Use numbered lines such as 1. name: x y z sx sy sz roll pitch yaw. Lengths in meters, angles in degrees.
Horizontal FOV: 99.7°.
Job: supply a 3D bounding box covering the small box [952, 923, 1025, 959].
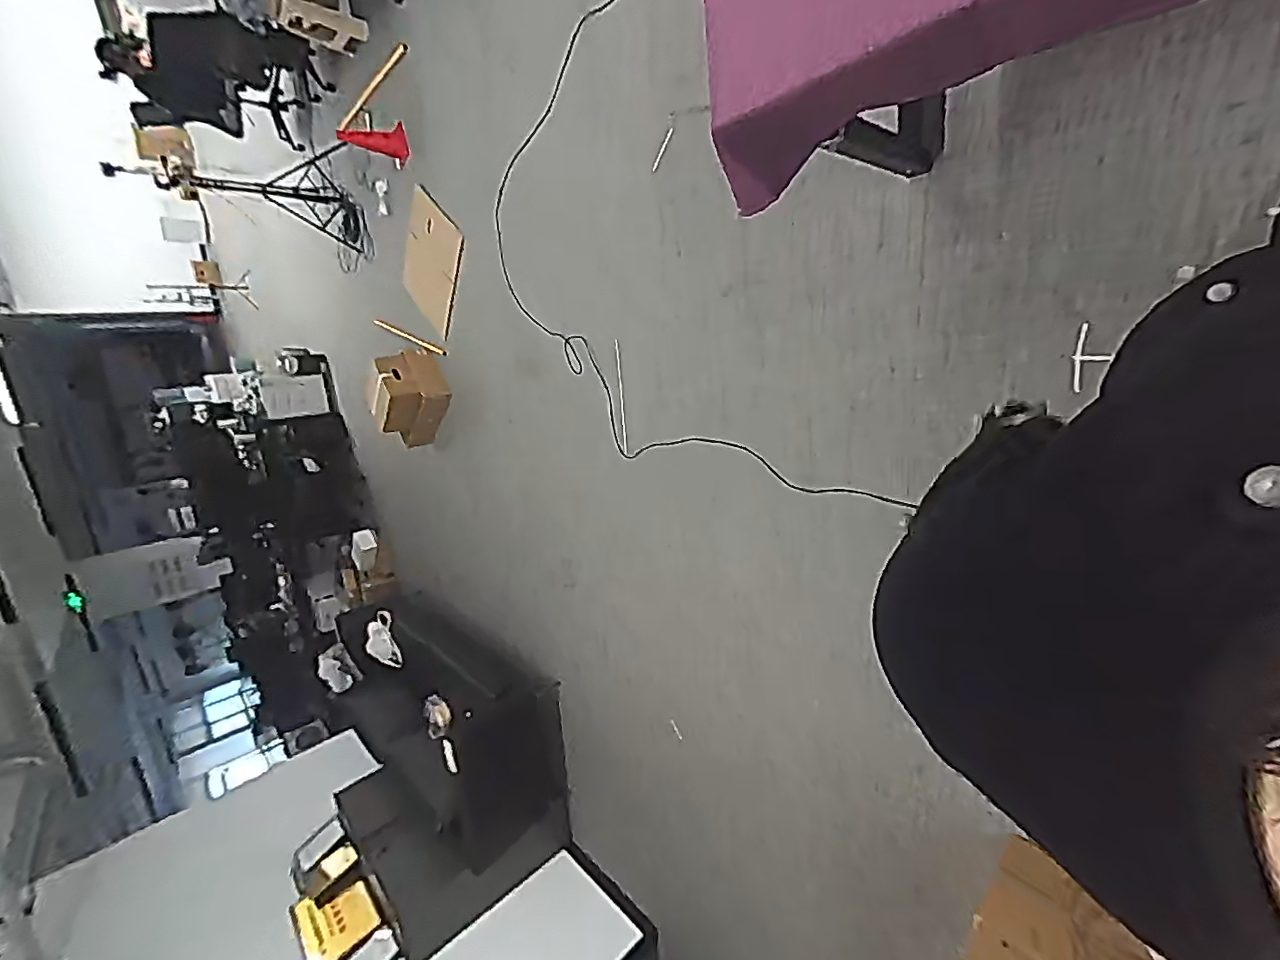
1. small box: 0.791 1.174 1.218 0.168 0.176 0.179 19 118 44
